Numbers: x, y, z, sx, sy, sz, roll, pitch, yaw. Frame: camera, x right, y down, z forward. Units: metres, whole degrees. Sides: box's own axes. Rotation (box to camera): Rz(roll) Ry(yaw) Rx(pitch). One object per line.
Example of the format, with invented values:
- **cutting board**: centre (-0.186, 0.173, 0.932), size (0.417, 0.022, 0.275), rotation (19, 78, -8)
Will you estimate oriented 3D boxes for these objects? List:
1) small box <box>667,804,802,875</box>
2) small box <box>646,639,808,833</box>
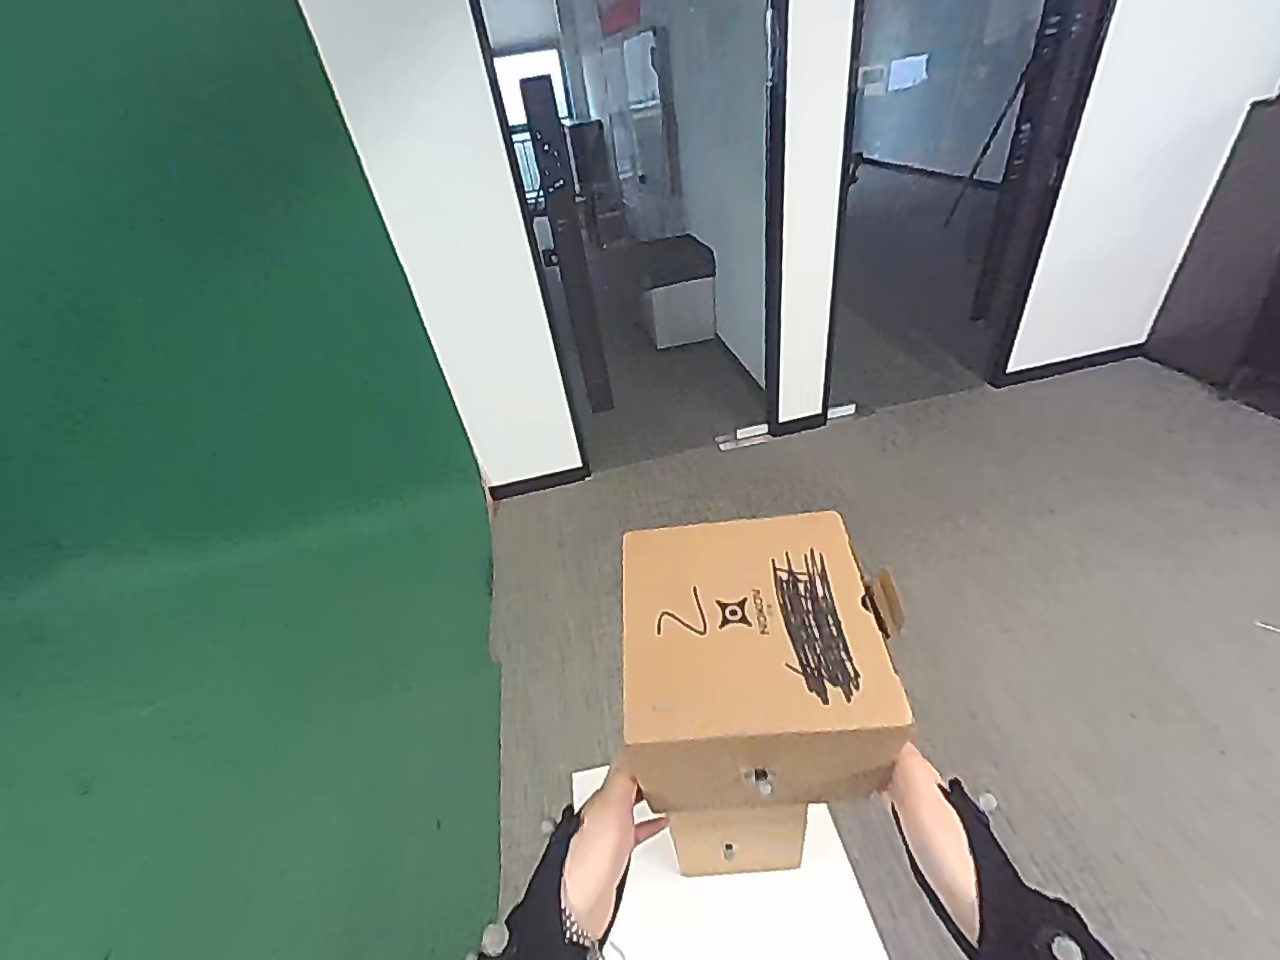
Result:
- **small box**: centre (0.132, 0.458, 0.798), size (0.179, 0.176, 0.168), rotation (-7, 37, 4)
- **small box**: centre (0.107, 0.331, 0.699), size (0.179, 0.176, 0.168), rotation (-6, 37, 2)
